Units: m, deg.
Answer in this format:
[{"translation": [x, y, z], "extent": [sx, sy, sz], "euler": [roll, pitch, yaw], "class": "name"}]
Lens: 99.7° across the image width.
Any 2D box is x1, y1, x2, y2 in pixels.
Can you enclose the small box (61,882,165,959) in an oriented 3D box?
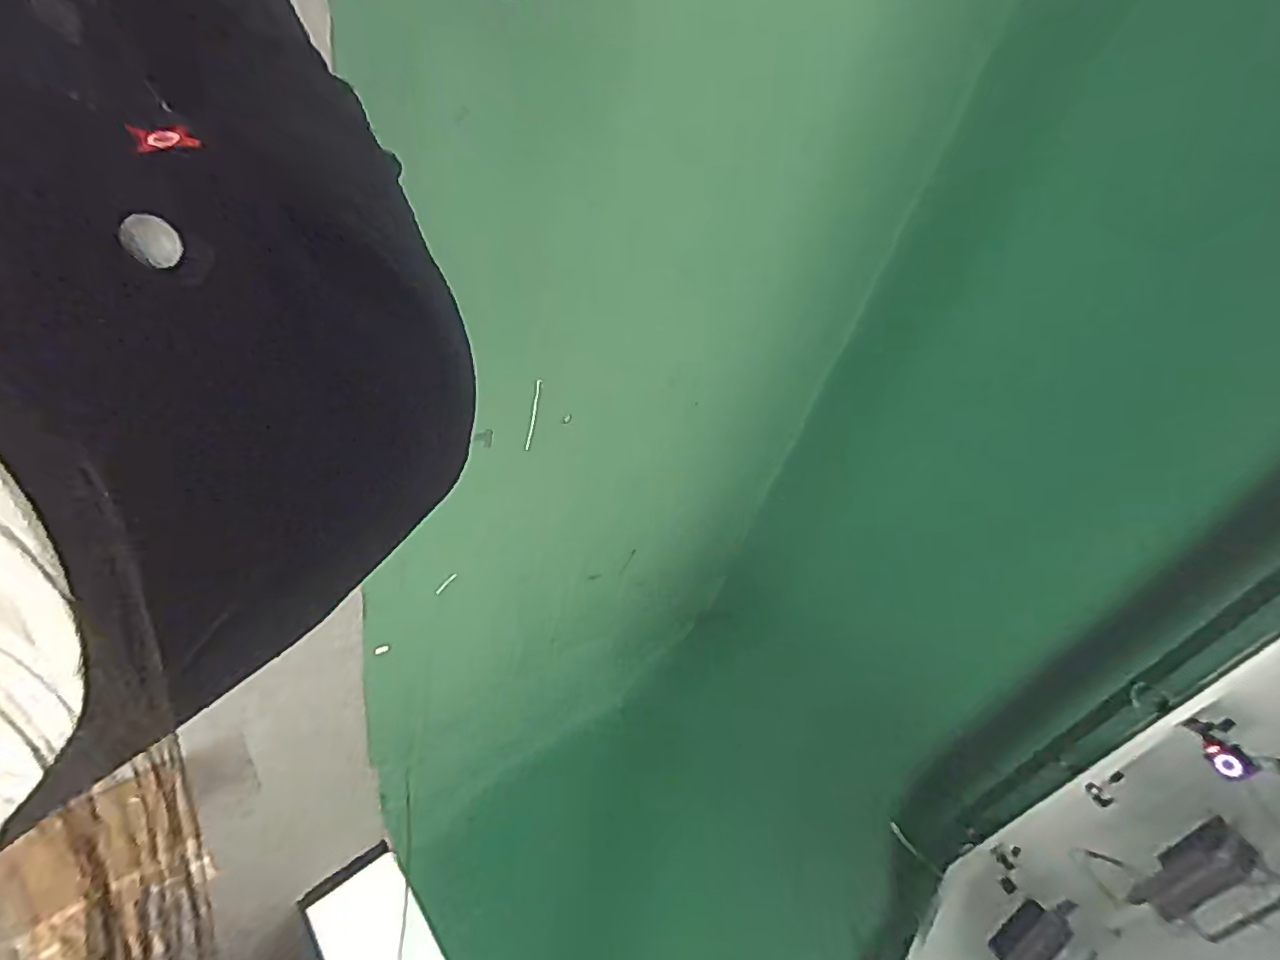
[{"translation": [-1.514, 1.315, 1.554], "extent": [0.179, 0.176, 0.168], "euler": [-18, 136, -41], "class": "small box"}]
